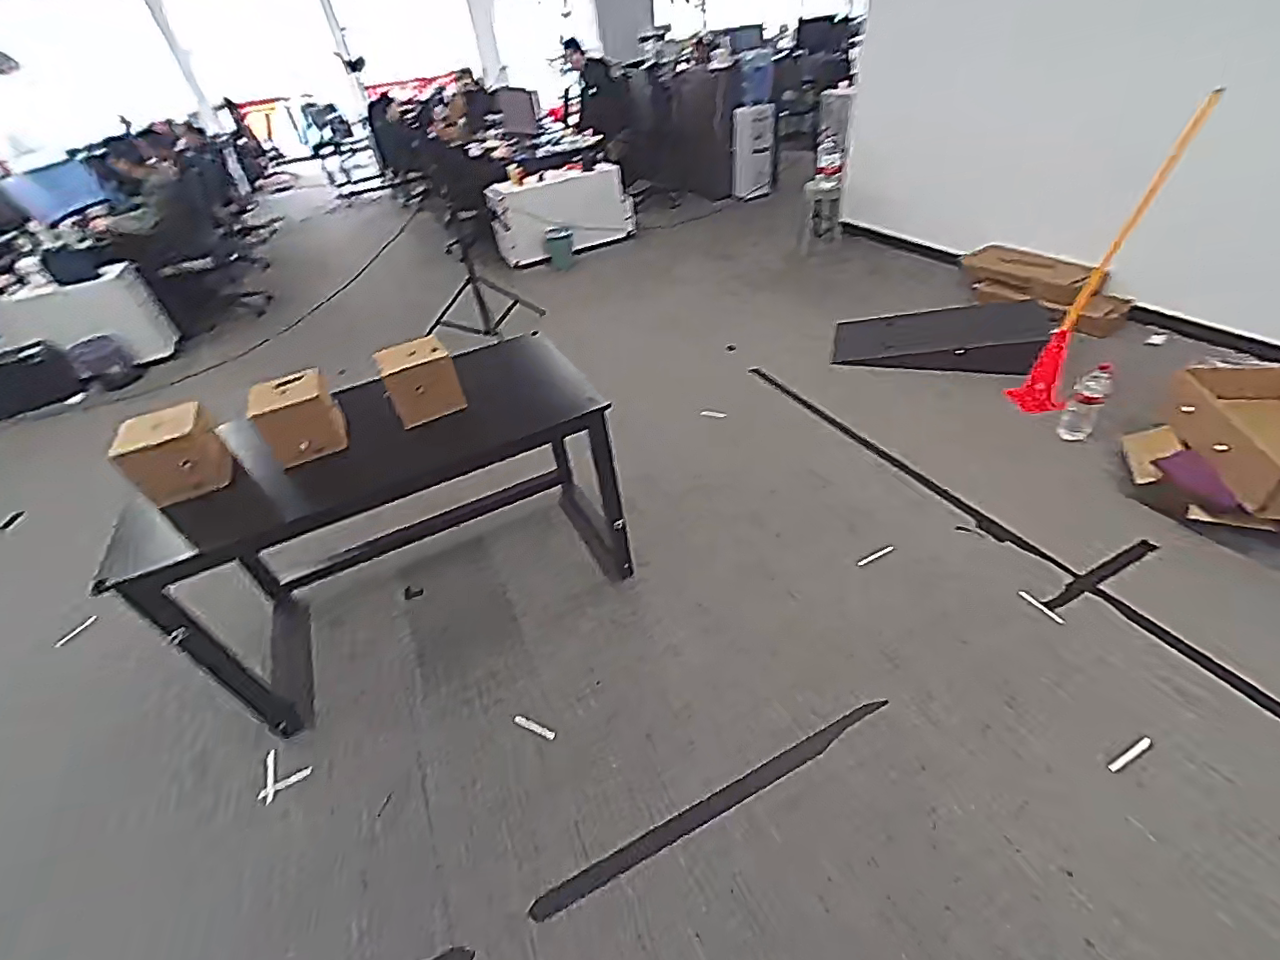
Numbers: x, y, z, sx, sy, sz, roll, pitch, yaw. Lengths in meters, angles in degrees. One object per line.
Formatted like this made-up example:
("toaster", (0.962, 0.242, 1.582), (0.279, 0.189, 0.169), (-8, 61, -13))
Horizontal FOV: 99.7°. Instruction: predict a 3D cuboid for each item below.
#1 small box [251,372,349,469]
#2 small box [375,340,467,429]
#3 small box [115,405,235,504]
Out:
("small box", (-0.901, -0.159, 1.442), (0.168, 0.176, 0.179), (-23, 43, -17))
("small box", (-0.616, -0.270, 1.531), (0.179, 0.176, 0.168), (-26, 43, -20))
("small box", (-1.159, -0.059, 1.365), (0.168, 0.176, 0.179), (-22, 41, -19))
